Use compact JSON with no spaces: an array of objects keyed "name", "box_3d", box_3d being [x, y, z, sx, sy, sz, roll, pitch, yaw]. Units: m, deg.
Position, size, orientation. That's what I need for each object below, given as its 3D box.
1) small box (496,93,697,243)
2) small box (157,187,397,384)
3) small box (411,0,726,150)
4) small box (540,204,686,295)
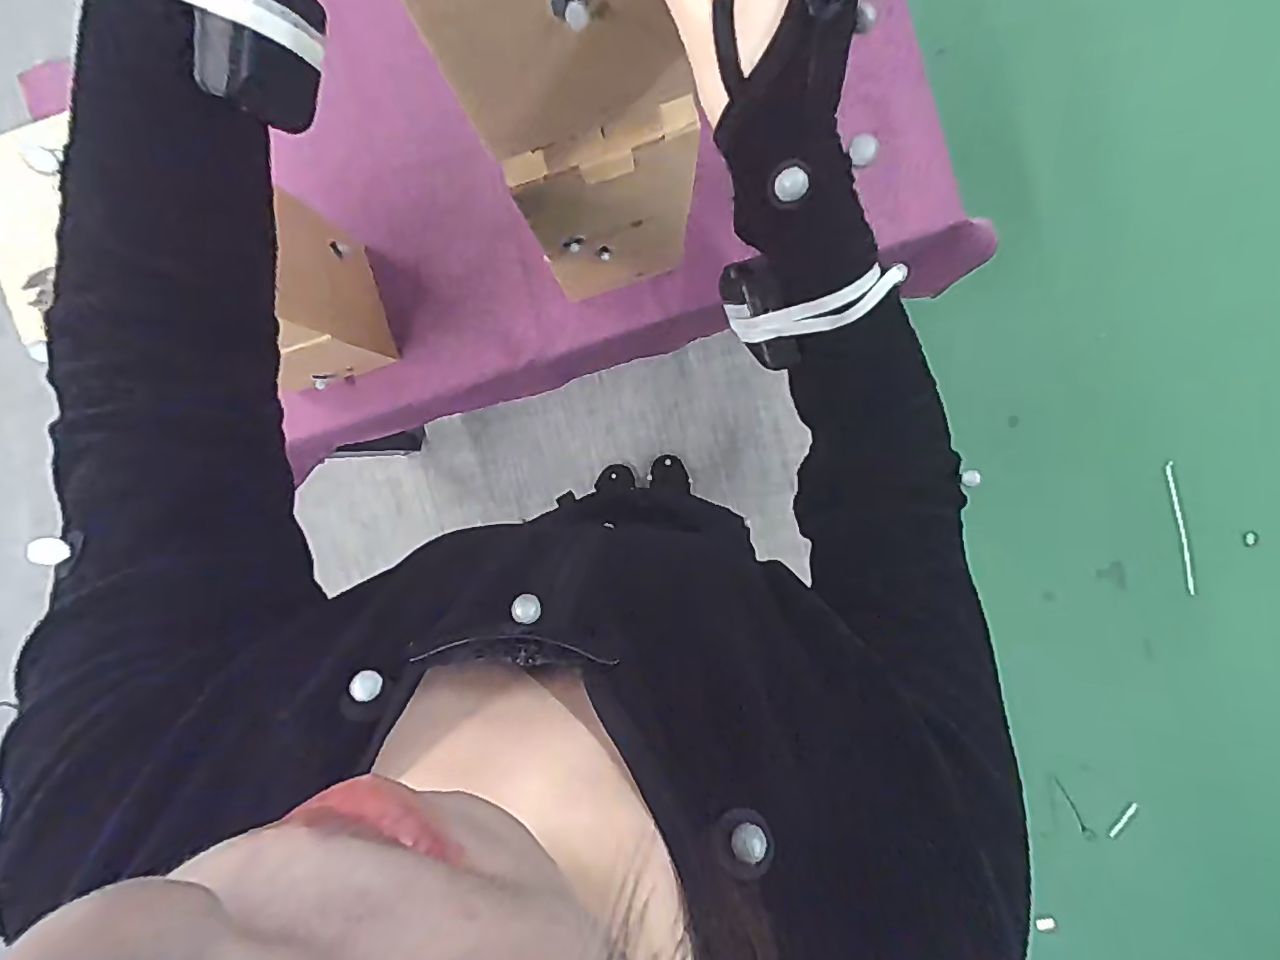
[{"name":"small box","box_3d":[-0.051,-0.347,0.511,0.168,0.176,0.179,-17,93,3]},{"name":"small box","box_3d":[-0.448,-0.234,0.697,0.168,0.176,0.179,-16,94,3]},{"name":"small box","box_3d":[-0.050,-0.326,0.306,0.179,0.176,0.168,-17,97,1]},{"name":"small box","box_3d":[-0.047,-0.358,0.676,0.168,0.176,0.179,-17,93,4]}]
